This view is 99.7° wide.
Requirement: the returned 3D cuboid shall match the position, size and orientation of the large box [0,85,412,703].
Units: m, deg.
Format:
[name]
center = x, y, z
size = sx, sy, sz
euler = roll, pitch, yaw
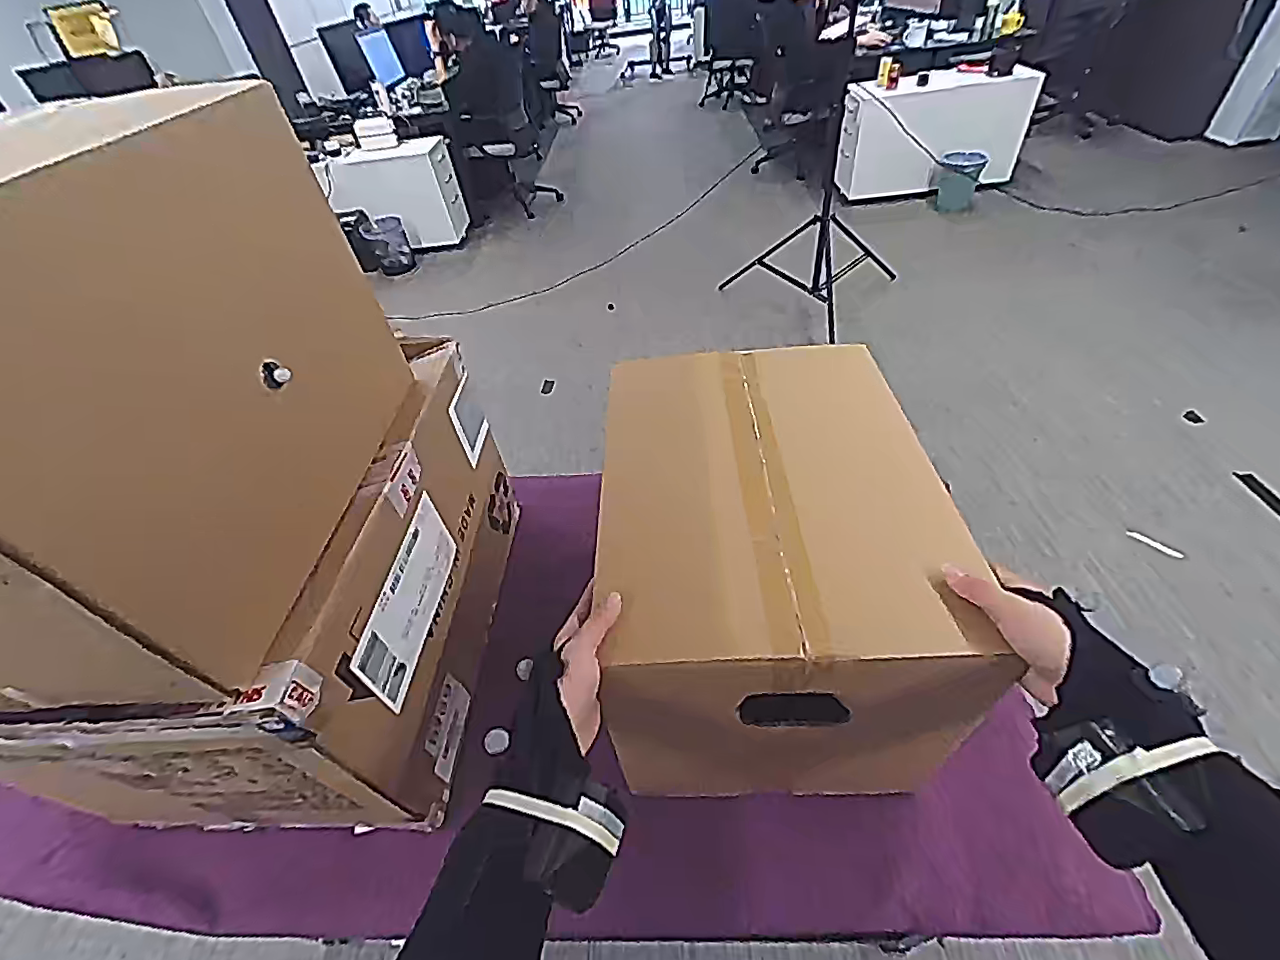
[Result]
[large box]
center = -0.441, -0.079, 0.440
size = 0.320, 0.320, 0.408
euler = -5, 45, 5
